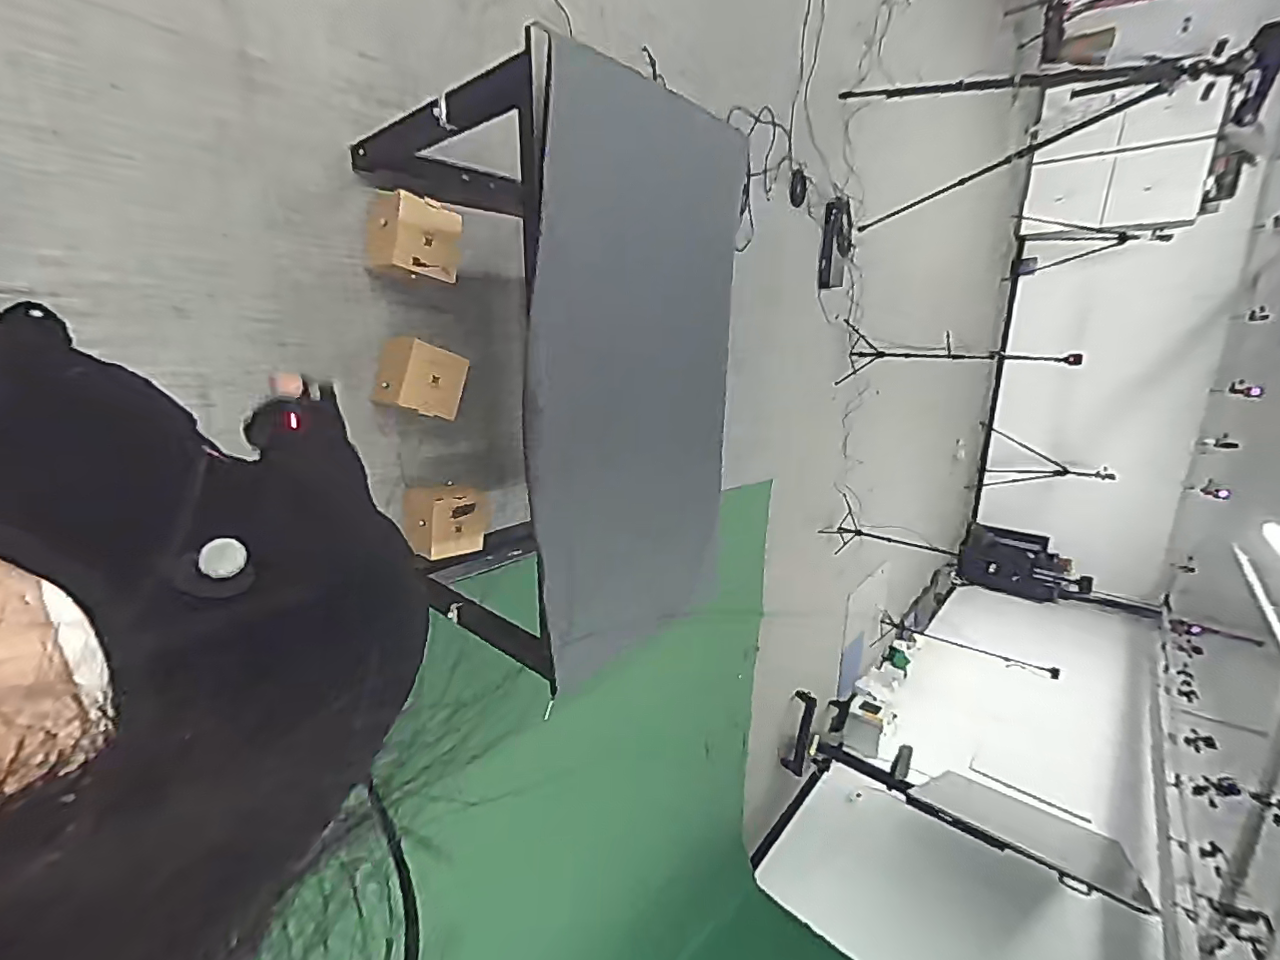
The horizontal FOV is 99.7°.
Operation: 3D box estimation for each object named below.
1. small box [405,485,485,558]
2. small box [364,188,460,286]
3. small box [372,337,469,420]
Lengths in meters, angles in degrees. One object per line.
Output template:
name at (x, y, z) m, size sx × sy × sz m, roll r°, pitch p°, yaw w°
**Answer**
small box at (-0.575, 0.113, 1.587) m, size 0.168 × 0.176 × 0.179 m, roll -7°, pitch 106°, yaw -48°
small box at (-0.586, -0.612, 1.386) m, size 0.168 × 0.176 × 0.179 m, roll 2°, pitch 97°, yaw -50°
small box at (-0.597, -0.273, 1.461) m, size 0.168 × 0.176 × 0.179 m, roll 15°, pitch 87°, yaw -51°
